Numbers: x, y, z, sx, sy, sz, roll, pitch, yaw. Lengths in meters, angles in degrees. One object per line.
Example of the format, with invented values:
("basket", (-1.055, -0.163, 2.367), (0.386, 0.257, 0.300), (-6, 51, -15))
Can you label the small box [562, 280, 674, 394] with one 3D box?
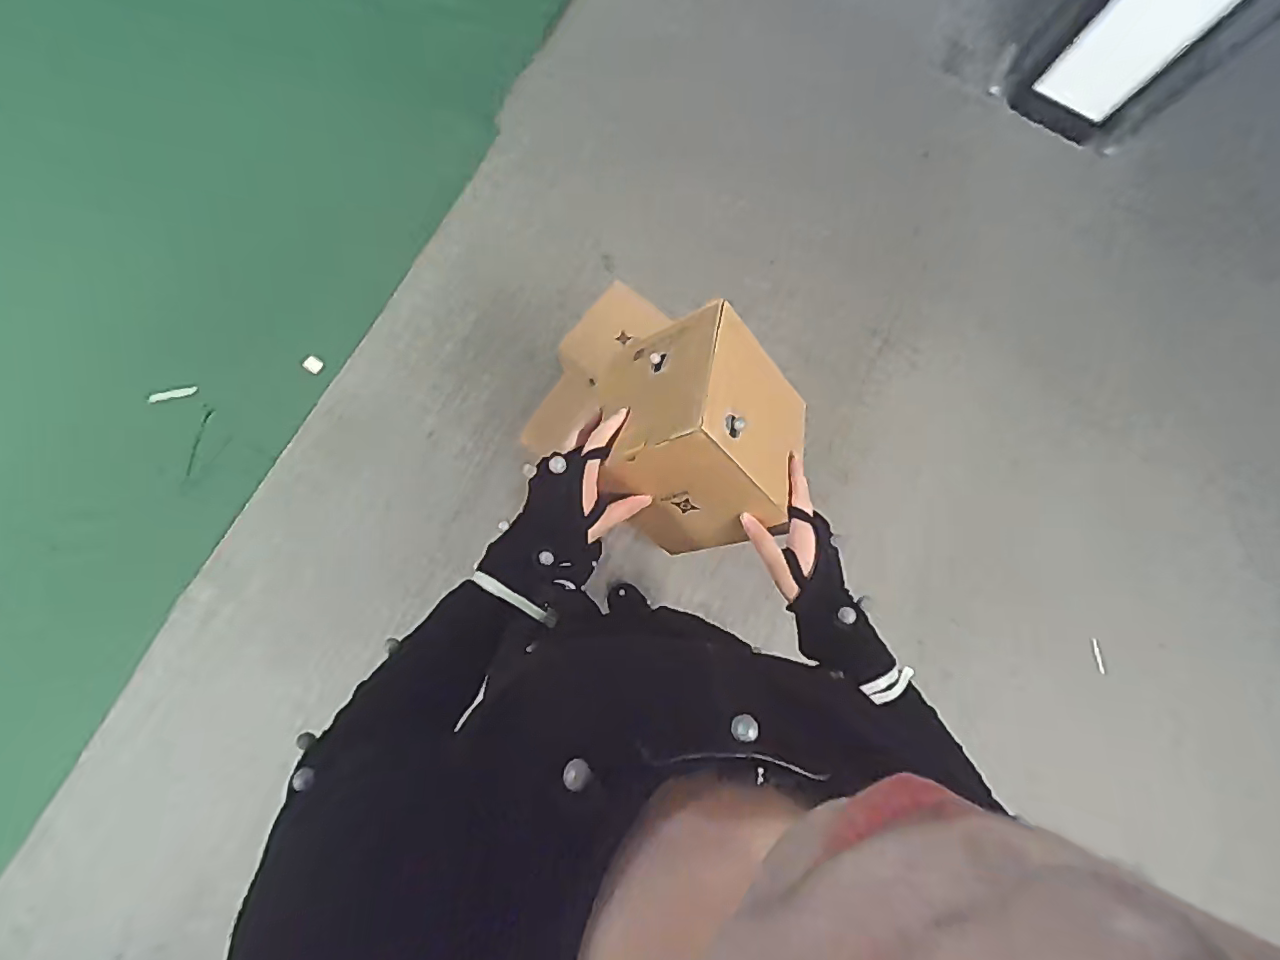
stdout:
("small box", (-0.024, -0.228, 1.014), (0.179, 0.176, 0.168), (40, 82, 2))

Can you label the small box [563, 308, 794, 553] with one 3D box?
("small box", (0.053, -0.044, 0.576), (0.179, 0.168, 0.176), (39, 48, -34))
